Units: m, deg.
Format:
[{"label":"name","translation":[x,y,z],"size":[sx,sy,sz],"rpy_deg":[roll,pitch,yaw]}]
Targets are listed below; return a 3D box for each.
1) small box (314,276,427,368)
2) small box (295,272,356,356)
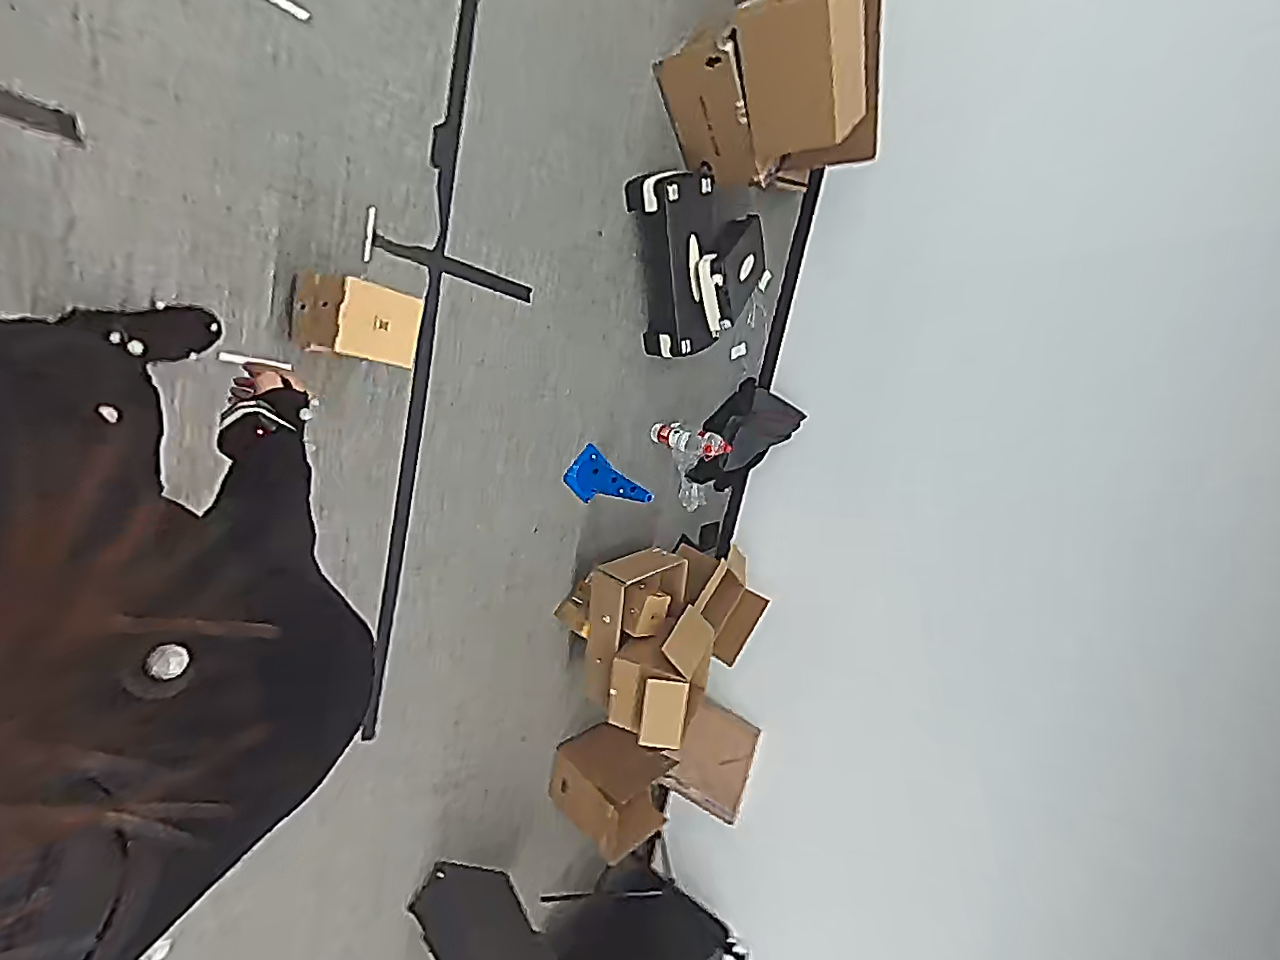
[{"label":"small box","translation":[-0.639,-0.376,1.281],"size":[0.179,0.176,0.168],"rpy_deg":[6,102,-47]},{"label":"small box","translation":[-0.763,-0.419,1.379],"size":[0.168,0.176,0.179],"rpy_deg":[0,105,-47]}]
